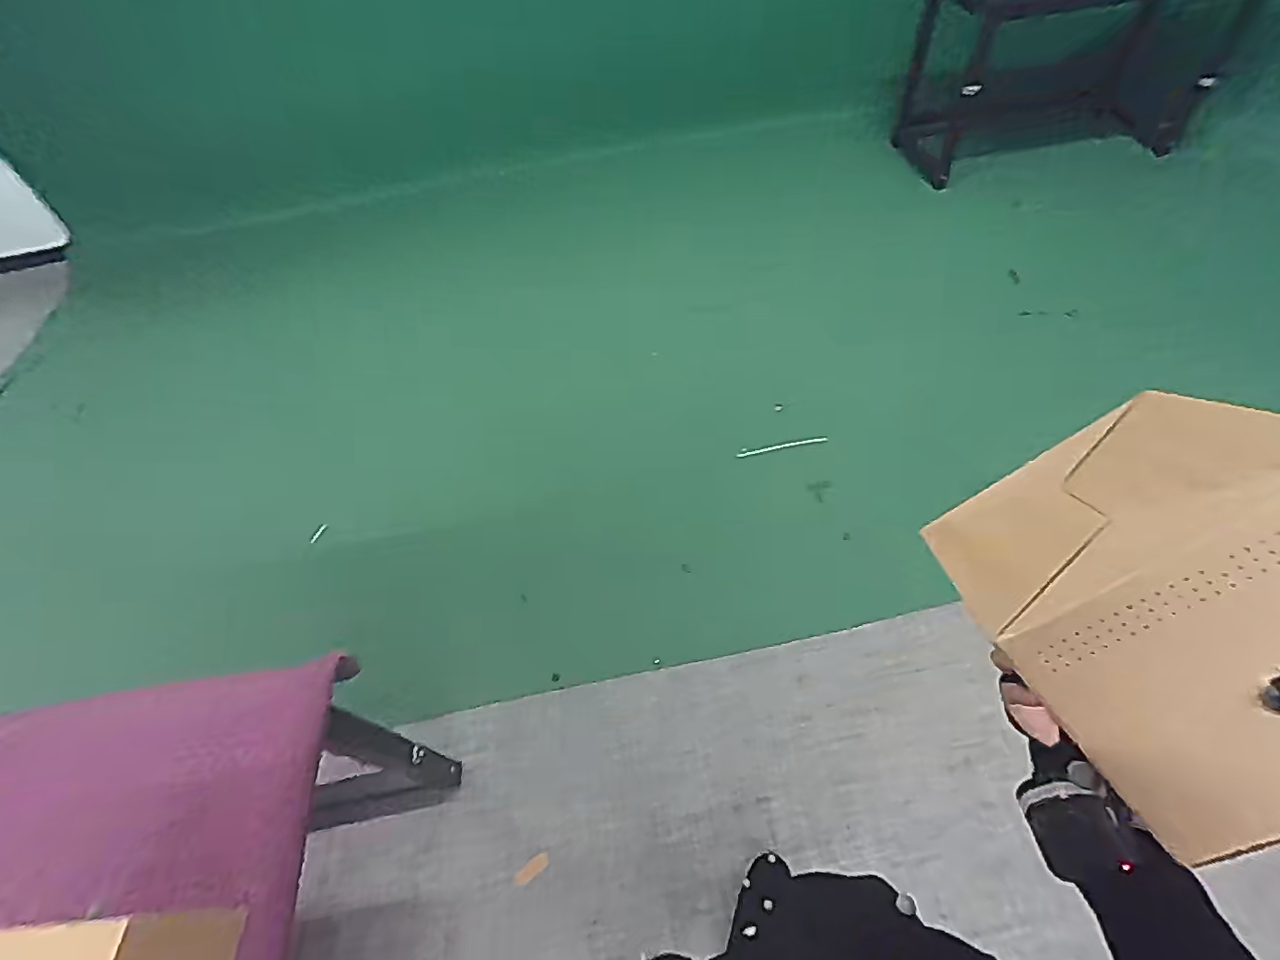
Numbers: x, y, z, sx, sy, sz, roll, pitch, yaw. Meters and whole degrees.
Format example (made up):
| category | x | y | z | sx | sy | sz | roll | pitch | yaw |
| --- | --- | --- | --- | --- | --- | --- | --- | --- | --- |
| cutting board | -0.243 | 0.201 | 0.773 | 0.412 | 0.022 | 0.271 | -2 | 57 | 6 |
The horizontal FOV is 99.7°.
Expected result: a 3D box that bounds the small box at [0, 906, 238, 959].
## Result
| category | x | y | z | sx | sy | sz | roll | pitch | yaw |
| --- | --- | --- | --- | --- | --- | --- | --- | --- | --- |
| small box | -0.541 | 0.518 | 0.515 | 0.179 | 0.176 | 0.168 | -6 | 53 | 2 |
